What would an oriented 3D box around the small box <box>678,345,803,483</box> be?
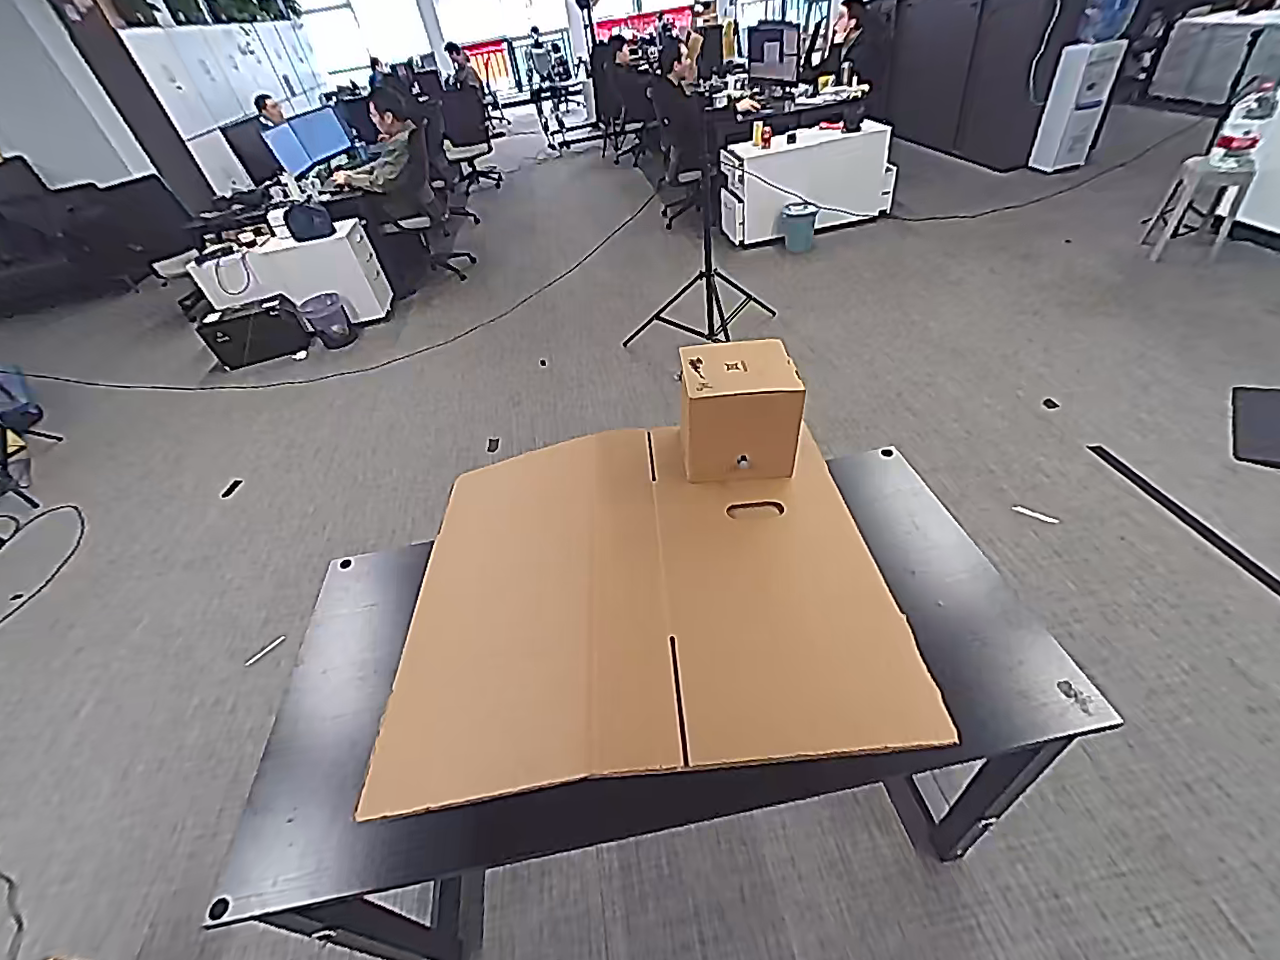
[{"bbox_3d":[0.157,-0.111,0.912,0.179,0.176,0.168,-4,40,0],"label":"small box"}]
